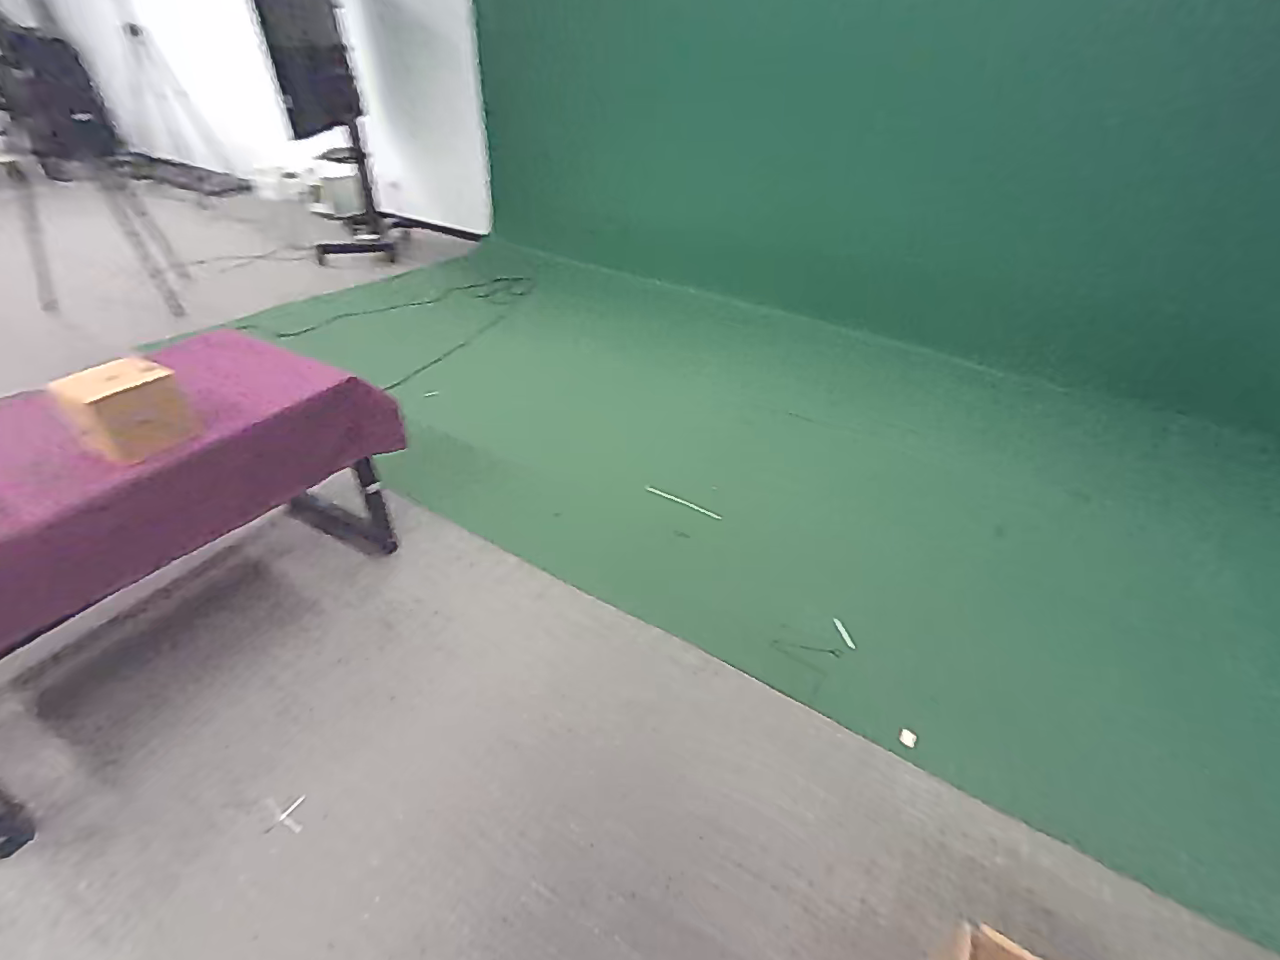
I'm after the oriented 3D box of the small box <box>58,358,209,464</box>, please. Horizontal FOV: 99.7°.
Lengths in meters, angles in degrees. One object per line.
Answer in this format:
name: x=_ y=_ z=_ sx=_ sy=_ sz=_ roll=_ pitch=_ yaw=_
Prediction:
small box: x=-1.185 y=-0.163 z=1.280 sx=0.168 sy=0.176 sz=0.179 roll=20 pitch=41 yaw=19
